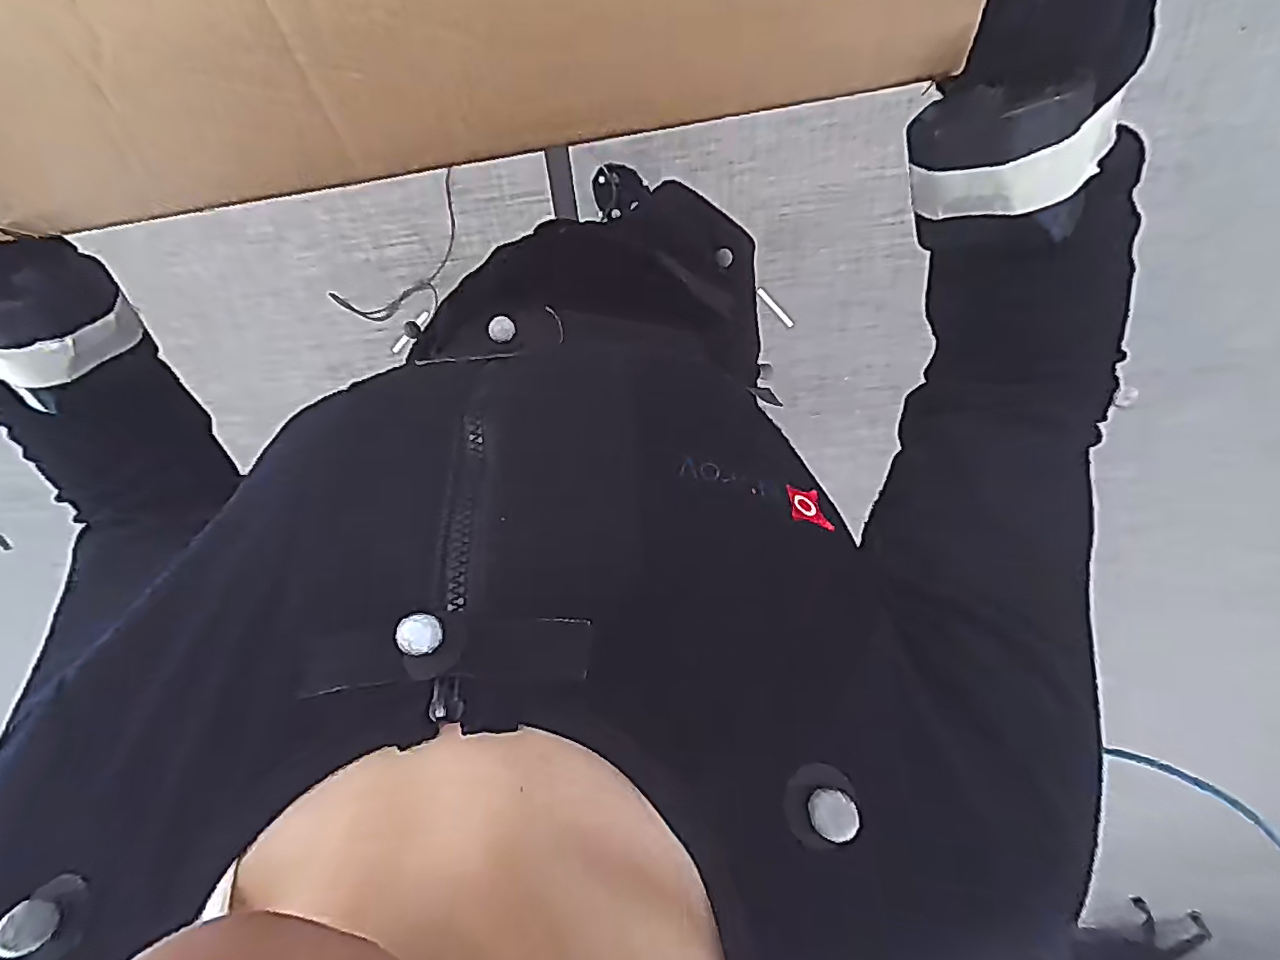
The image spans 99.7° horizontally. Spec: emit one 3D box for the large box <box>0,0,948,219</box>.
[{"bbox_3d":[-0.109,-0.350,0.187,0.408,0.320,0.320,-7,144,4],"label":"large box"}]
